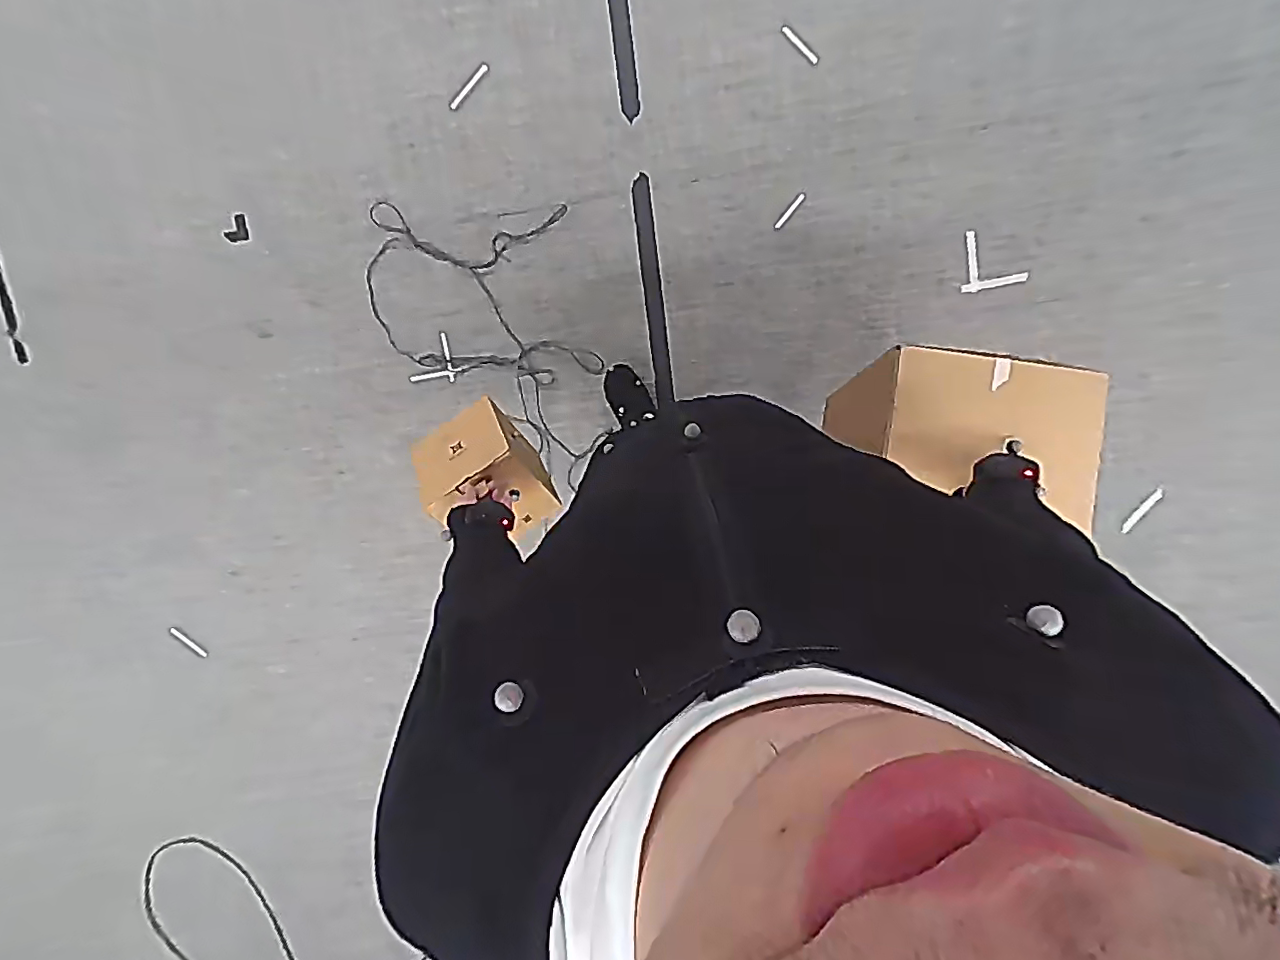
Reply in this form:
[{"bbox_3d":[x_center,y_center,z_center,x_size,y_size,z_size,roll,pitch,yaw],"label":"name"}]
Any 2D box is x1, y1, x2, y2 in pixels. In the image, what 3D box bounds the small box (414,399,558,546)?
[{"bbox_3d":[-0.271,-0.004,0.964,0.168,0.179,0.176,-34,136,0],"label":"small box"}]
